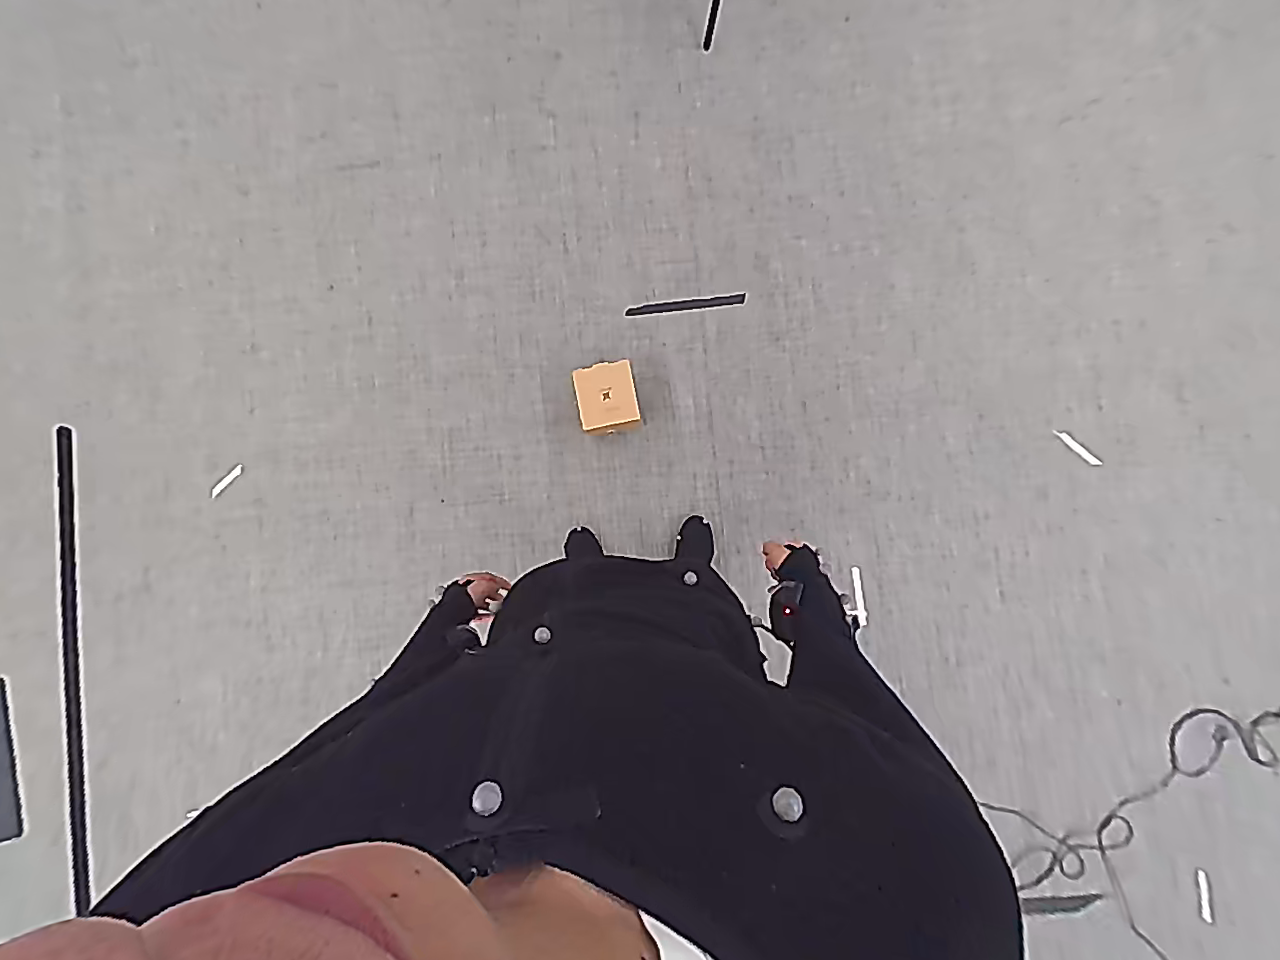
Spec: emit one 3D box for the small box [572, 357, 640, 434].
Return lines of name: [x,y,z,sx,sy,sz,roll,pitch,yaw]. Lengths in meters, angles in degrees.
small box: [-0.095,-0.242,1.587,0.168,0.176,0.179,-11,88,2]
